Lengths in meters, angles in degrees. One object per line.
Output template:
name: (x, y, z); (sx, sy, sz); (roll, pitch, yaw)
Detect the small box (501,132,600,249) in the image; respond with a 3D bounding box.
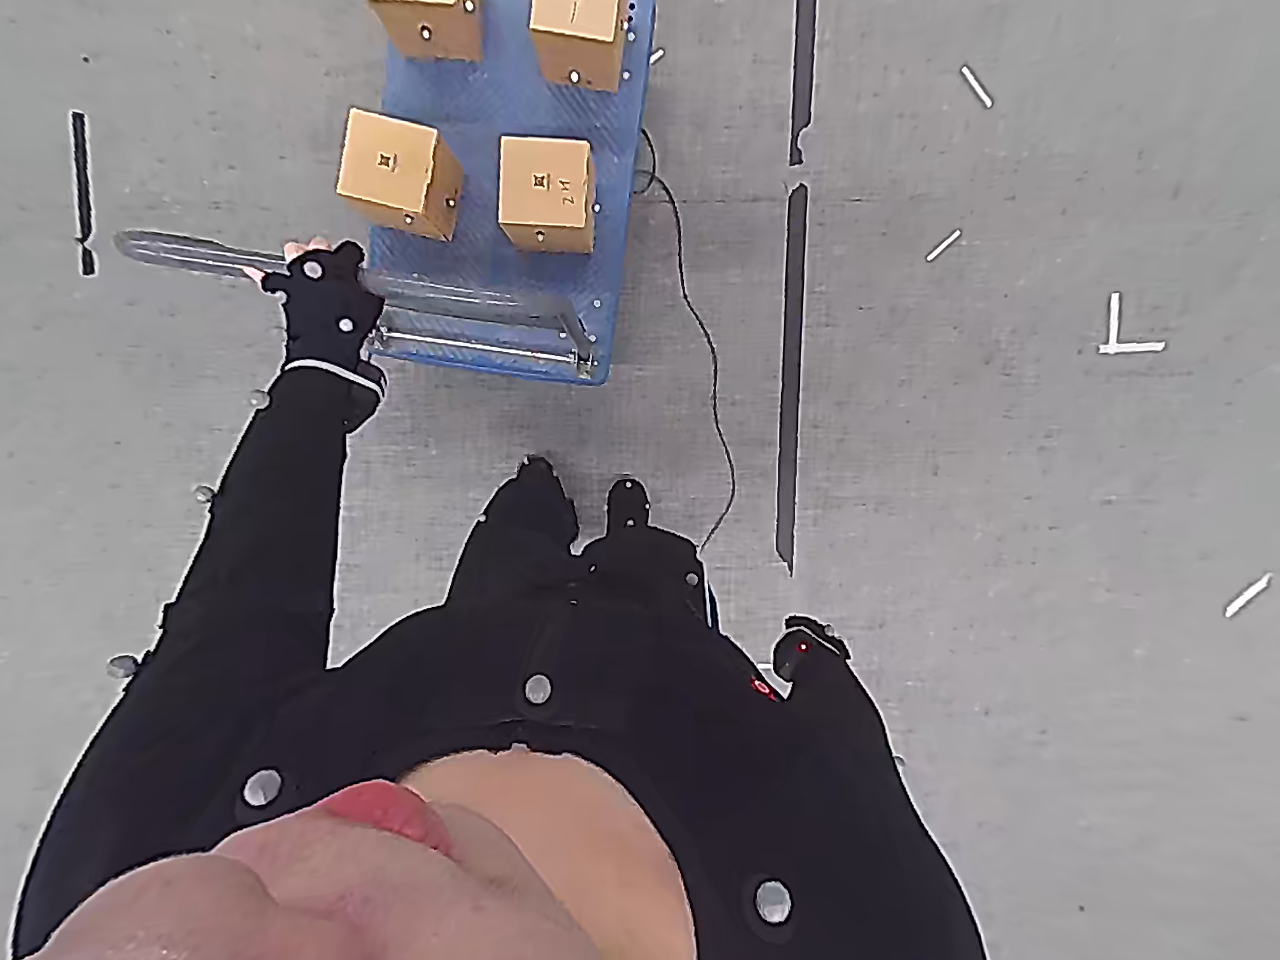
small box: (-0.184, -0.601, 1.142); (0.179, 0.176, 0.168); (4, 96, 0)

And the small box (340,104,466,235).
small box: (-0.490, -0.640, 1.137); (0.179, 0.176, 0.168); (12, 96, -3)

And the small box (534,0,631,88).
small box: (-0.111, -0.954, 1.103); (0.168, 0.176, 0.179); (9, 97, -1)
